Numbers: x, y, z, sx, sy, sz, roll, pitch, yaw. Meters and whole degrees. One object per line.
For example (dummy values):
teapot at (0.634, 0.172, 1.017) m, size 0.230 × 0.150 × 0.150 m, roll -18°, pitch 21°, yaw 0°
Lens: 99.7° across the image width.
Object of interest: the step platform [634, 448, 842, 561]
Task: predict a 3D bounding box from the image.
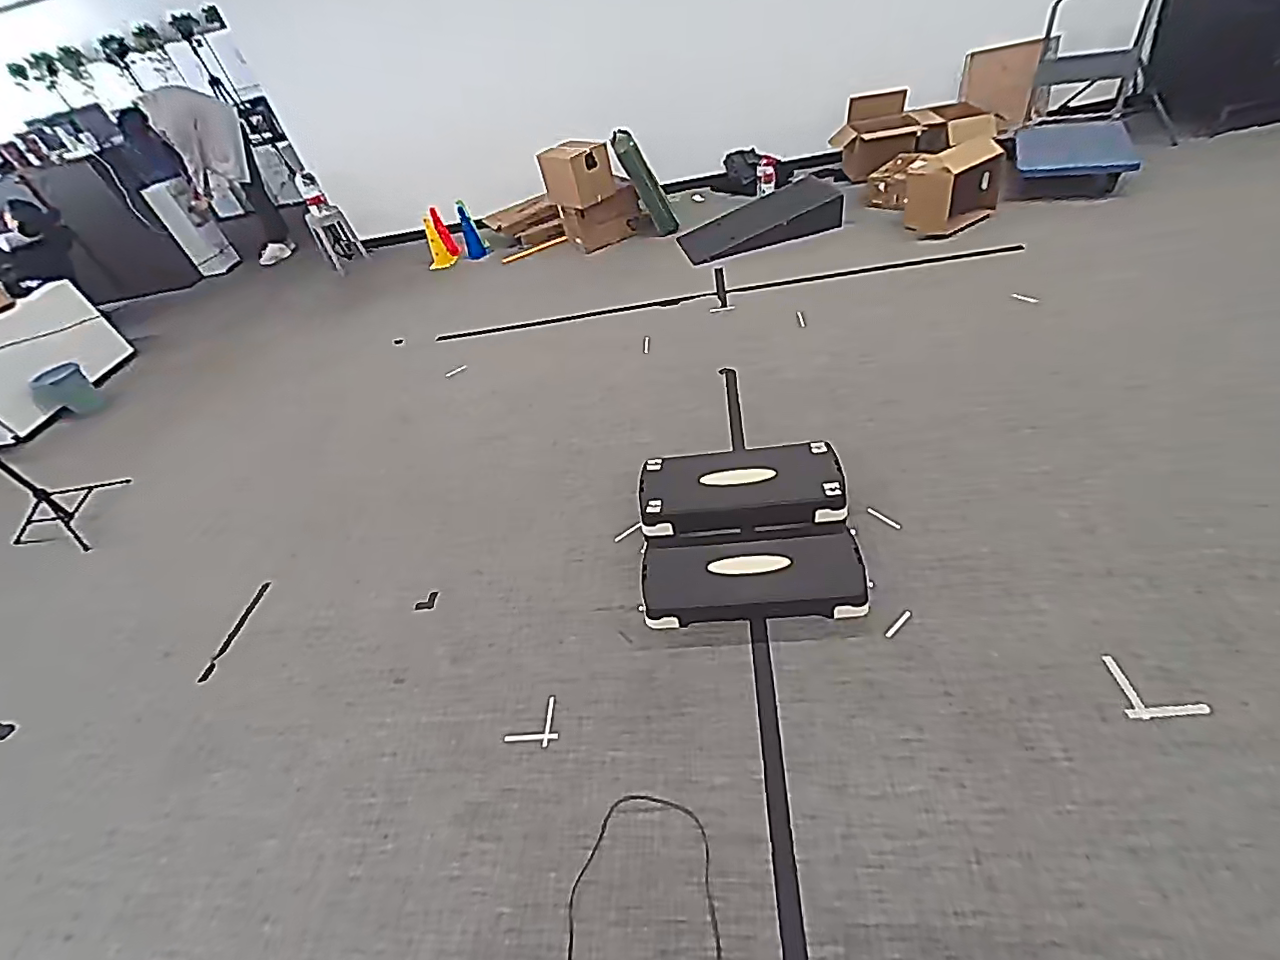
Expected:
step platform at (0.318, 0.079, 1.835) m, size 0.684 × 0.204 × 0.286 m, roll -6°, pitch 45°, yaw 7°
